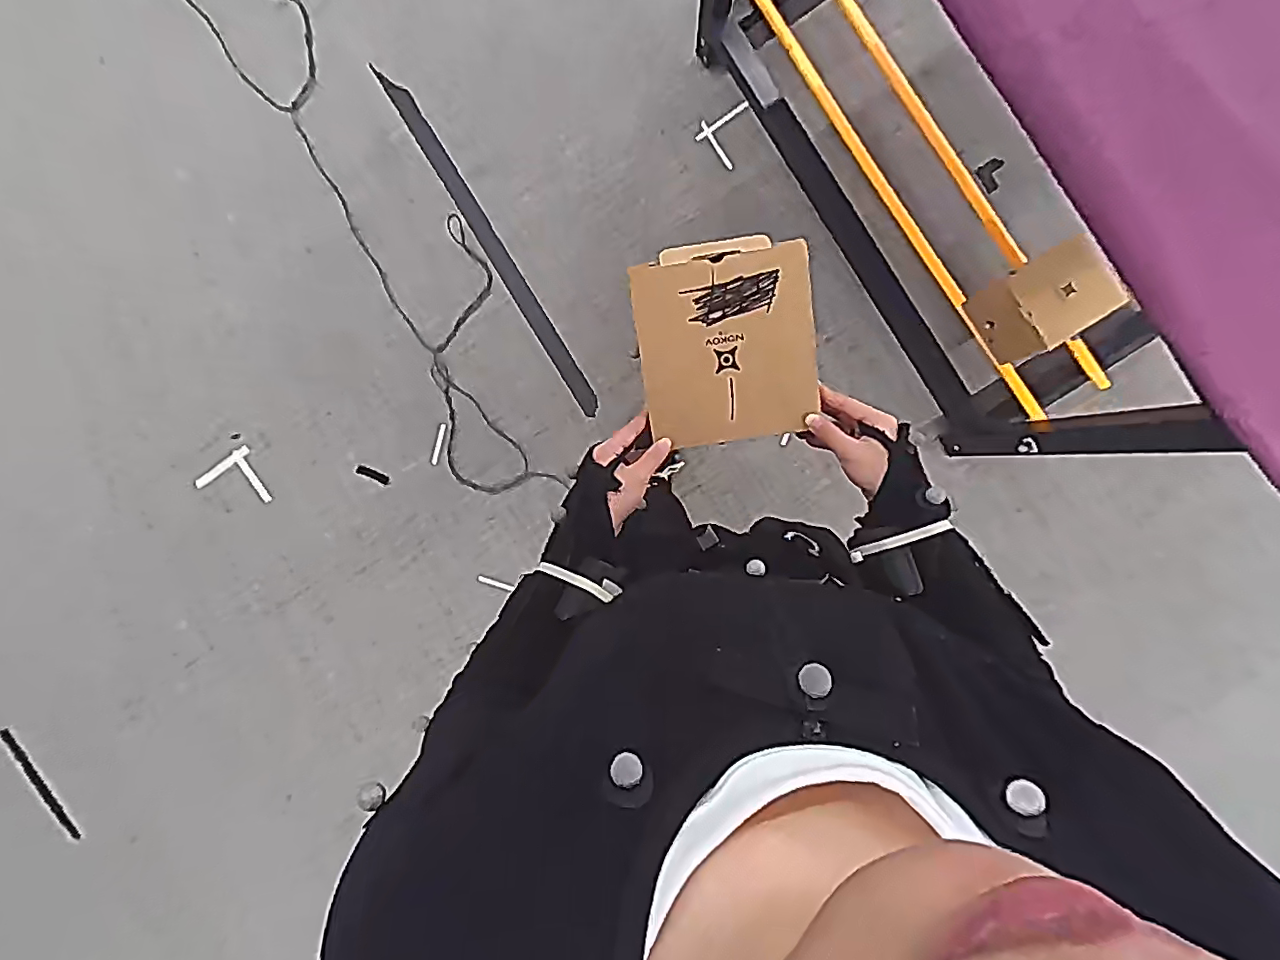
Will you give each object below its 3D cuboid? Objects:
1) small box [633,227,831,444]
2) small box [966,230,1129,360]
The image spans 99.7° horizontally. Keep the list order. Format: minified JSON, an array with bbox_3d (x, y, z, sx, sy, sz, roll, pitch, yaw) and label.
[{"bbox_3d":[0.090,-0.141,0.577,0.168,0.176,0.179,-9,99,6],"label":"small box"},{"bbox_3d":[0.833,-0.373,1.125,0.179,0.176,0.168,-33,90,5],"label":"small box"}]
